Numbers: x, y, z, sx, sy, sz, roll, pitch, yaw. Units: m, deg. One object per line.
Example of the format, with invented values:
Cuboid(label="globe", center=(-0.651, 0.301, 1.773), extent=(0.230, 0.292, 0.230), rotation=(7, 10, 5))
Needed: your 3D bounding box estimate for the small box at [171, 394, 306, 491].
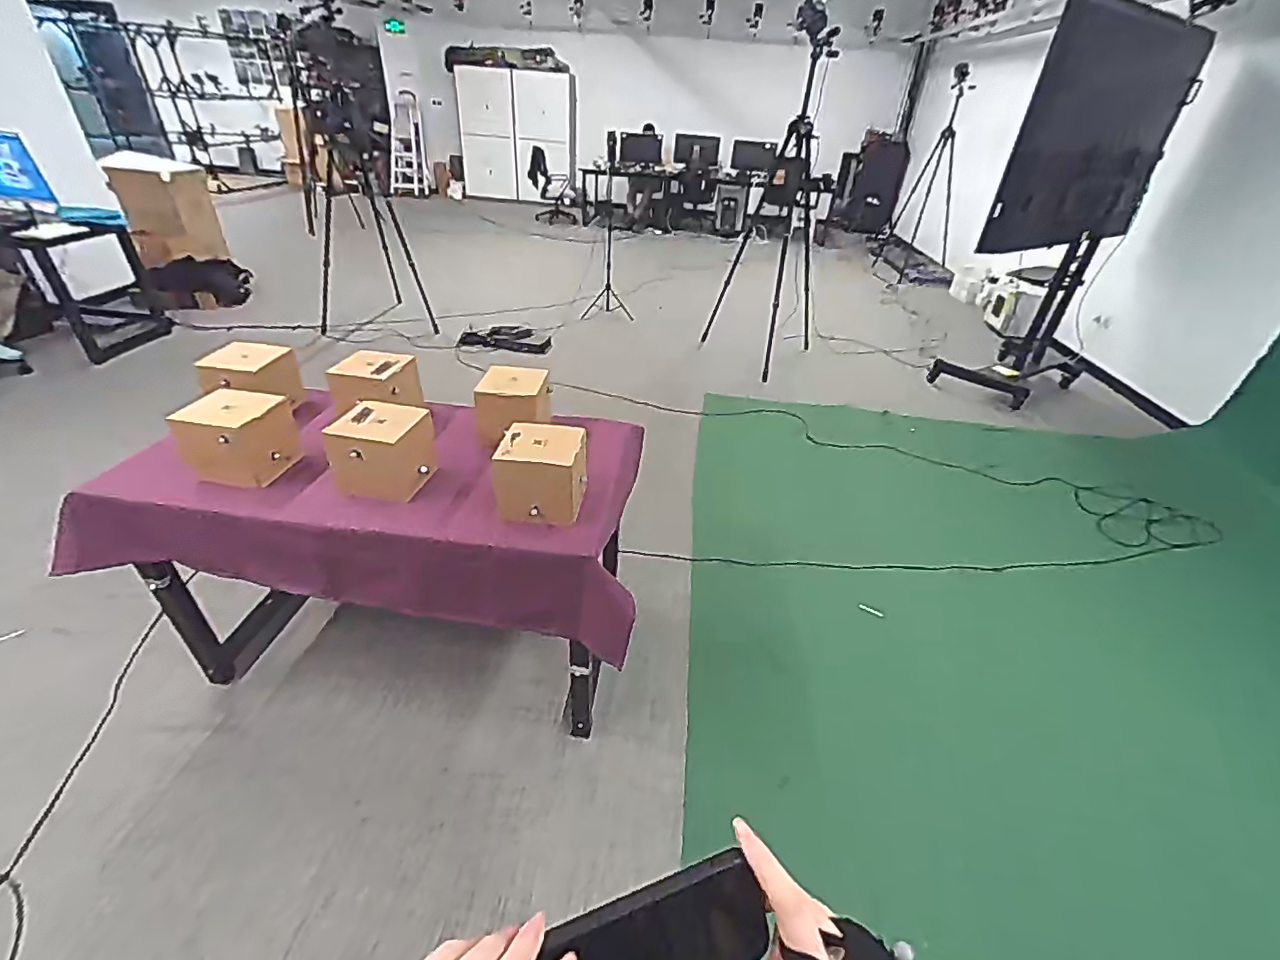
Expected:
Cuboid(label="small box", center=(-0.956, -0.091, 1.306), extent=(0.179, 0.176, 0.168), rotation=(8, 34, 4))

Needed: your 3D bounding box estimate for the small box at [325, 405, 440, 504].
Cuboid(label="small box", center=(-0.605, -0.060, 1.294), extent=(0.179, 0.176, 0.168), rotation=(9, 35, 6))

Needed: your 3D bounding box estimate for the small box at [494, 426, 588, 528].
Cuboid(label="small box", center=(-0.220, -0.006, 1.251), extent=(0.179, 0.176, 0.168), rotation=(6, 34, 3))

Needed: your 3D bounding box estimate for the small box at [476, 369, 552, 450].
Cuboid(label="small box", center=(-0.344, -0.194, 1.513), extent=(0.168, 0.176, 0.179), rotation=(4, 35, 2))
